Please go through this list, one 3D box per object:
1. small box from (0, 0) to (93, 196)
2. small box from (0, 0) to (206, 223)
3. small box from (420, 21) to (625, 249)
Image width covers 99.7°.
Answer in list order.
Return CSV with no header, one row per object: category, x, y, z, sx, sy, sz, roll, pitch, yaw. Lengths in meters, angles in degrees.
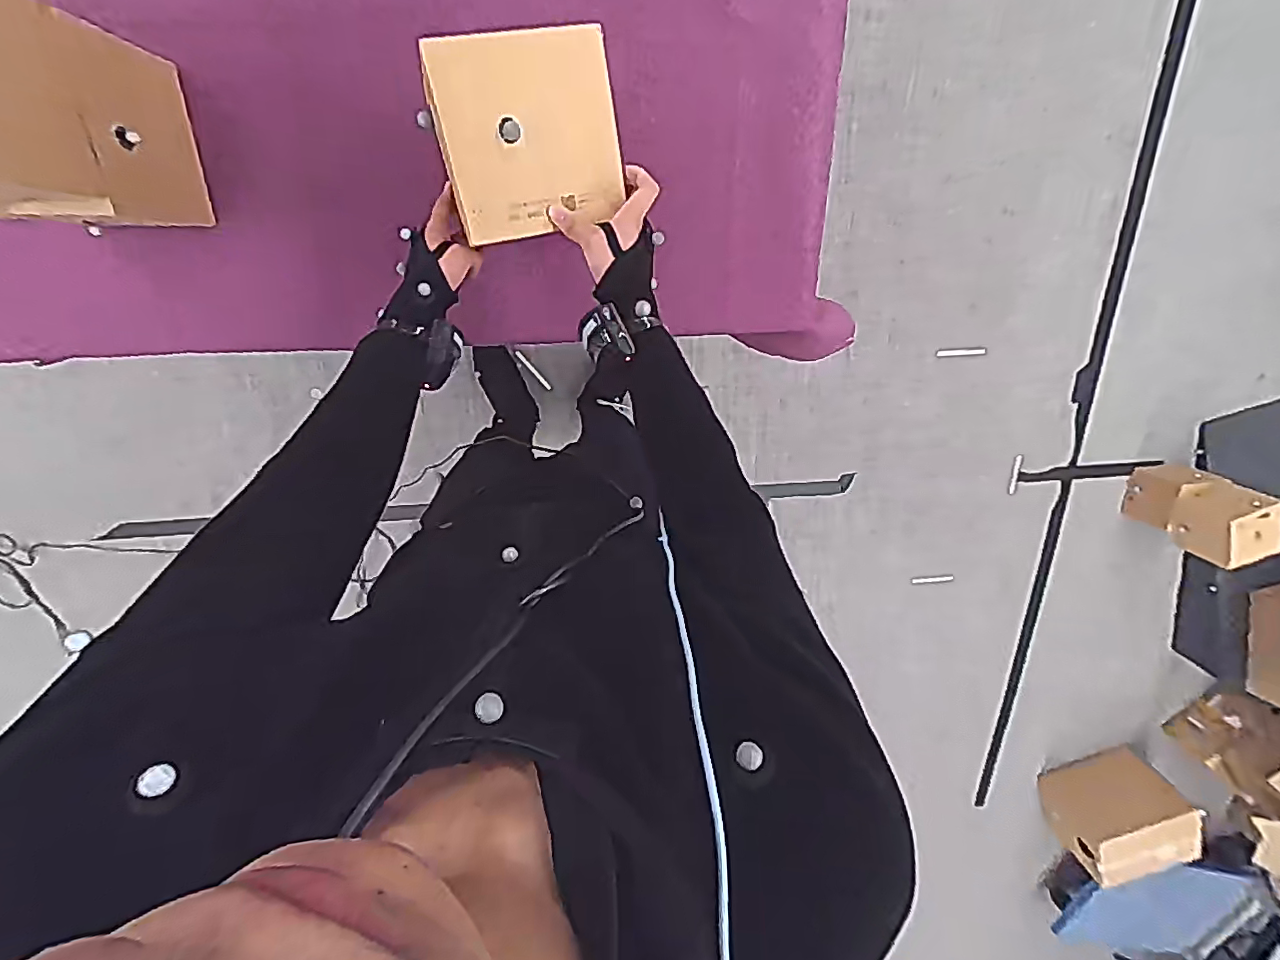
small box,-0.606,-0.325,0.423,0.168,0.176,0.179,-6,112,-4
small box,-0.618,-0.376,0.579,0.168,0.176,0.179,-2,112,-6
small box,-0.125,-0.355,0.587,0.168,0.179,0.176,-16,116,-13
